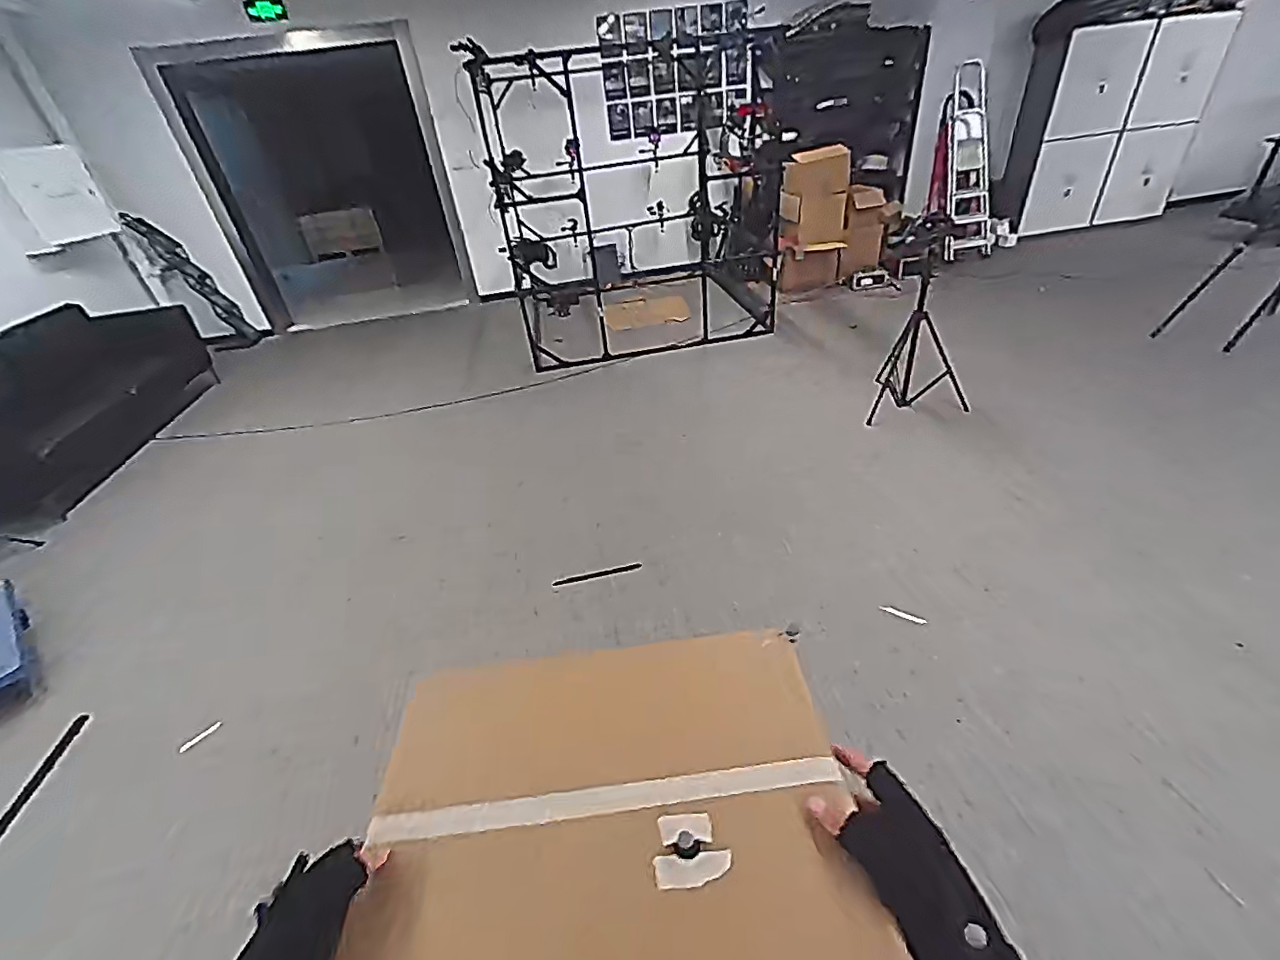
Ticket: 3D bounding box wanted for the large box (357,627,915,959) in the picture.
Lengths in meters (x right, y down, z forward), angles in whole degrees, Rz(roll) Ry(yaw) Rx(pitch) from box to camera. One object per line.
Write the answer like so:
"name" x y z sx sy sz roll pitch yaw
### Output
"large box" -0.005 0.395 0.564 0.408 0.320 0.320 -6 36 0
